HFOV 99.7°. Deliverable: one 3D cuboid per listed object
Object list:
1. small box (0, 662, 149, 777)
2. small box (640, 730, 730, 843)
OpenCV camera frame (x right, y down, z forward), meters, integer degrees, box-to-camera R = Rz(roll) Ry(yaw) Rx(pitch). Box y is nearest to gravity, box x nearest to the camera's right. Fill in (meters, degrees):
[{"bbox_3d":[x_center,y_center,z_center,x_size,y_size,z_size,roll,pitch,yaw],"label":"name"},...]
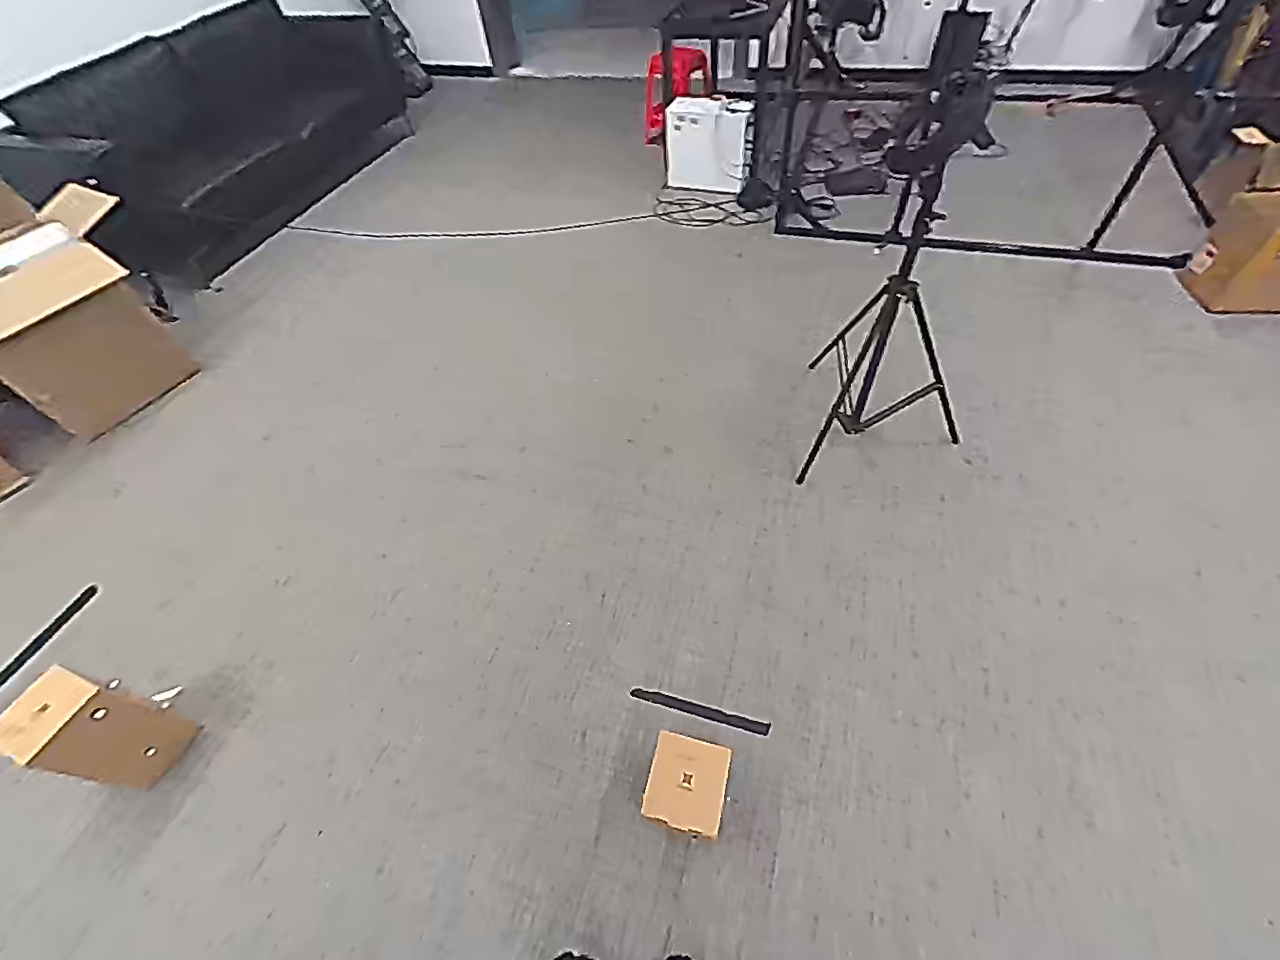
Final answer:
[{"bbox_3d":[-1.312,0.561,1.261,0.168,0.176,0.179,15,55,17],"label":"small box"},{"bbox_3d":[0.105,0.701,1.229,0.168,0.176,0.179,10,52,12],"label":"small box"}]
